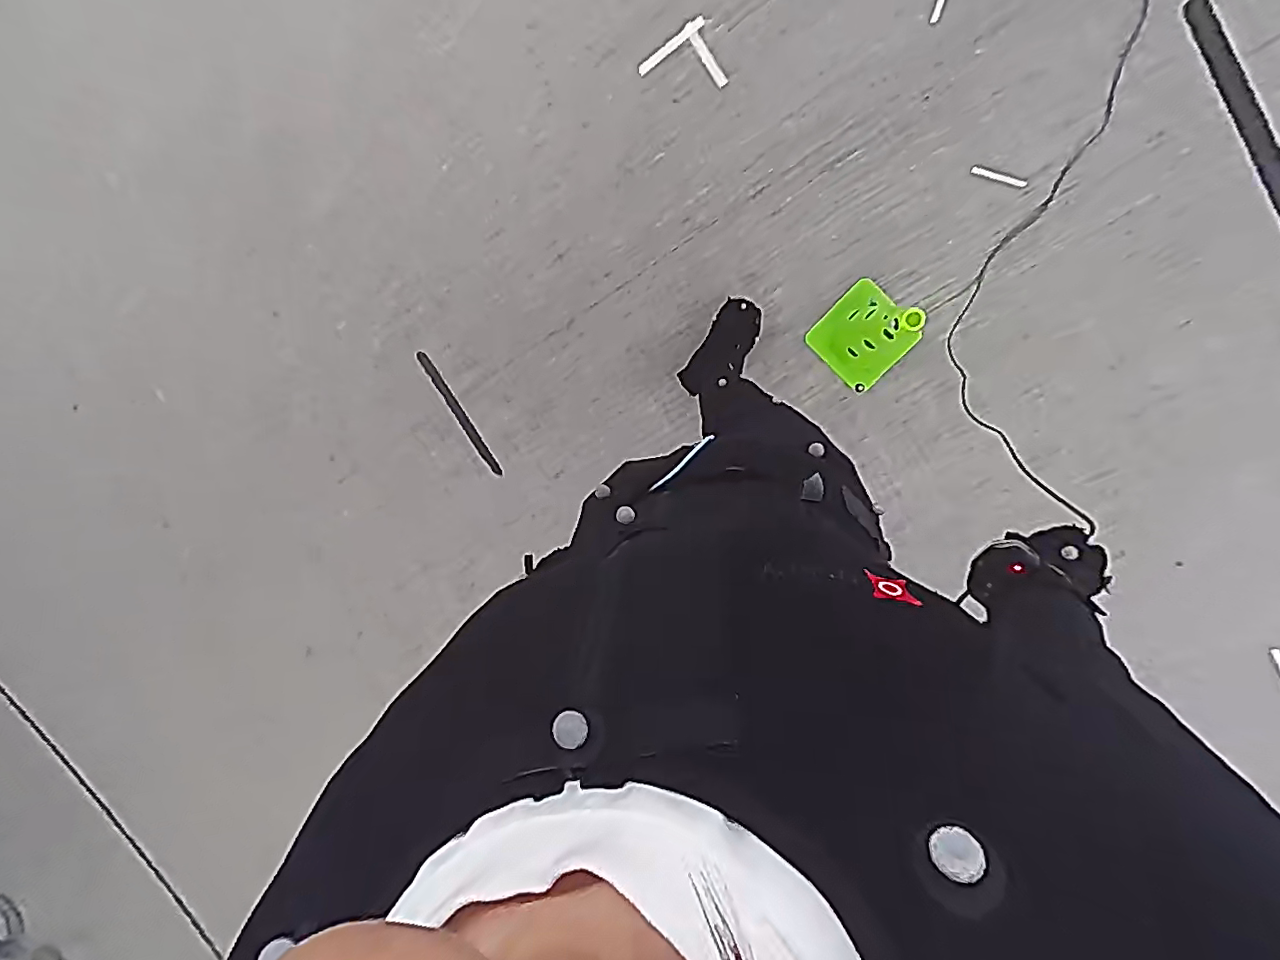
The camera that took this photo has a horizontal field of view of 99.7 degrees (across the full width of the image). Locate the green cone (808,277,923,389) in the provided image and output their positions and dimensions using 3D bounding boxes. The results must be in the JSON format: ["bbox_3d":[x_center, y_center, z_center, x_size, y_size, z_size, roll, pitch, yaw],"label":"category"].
[{"bbox_3d":[0.504,-0.320,1.109,0.202,0.368,0.200,44,102,1],"label":"green cone"}]
